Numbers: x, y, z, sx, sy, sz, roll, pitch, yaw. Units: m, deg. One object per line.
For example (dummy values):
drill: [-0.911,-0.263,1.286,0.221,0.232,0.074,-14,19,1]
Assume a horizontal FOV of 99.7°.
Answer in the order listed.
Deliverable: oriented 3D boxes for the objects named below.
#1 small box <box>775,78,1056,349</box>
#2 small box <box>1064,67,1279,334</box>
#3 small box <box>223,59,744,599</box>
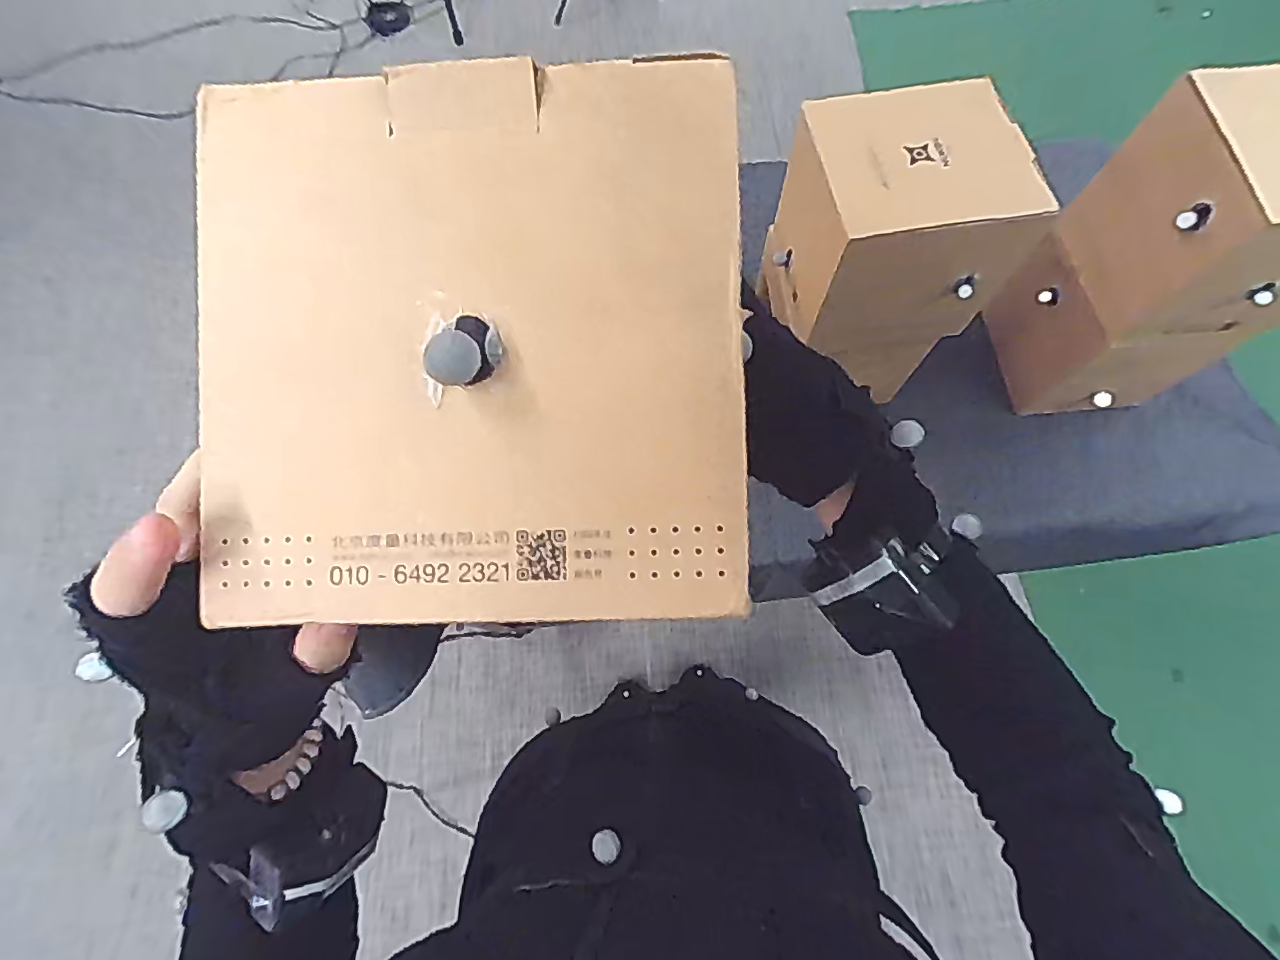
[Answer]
small box: [0.249,-0.253,0.541,0.179,0.176,0.168,-7,69,1]
small box: [0.569,-0.257,0.526,0.168,0.176,0.179,-3,70,2]
small box: [-0.045,-0.043,0.250,0.168,0.179,0.176,0,89,2]
